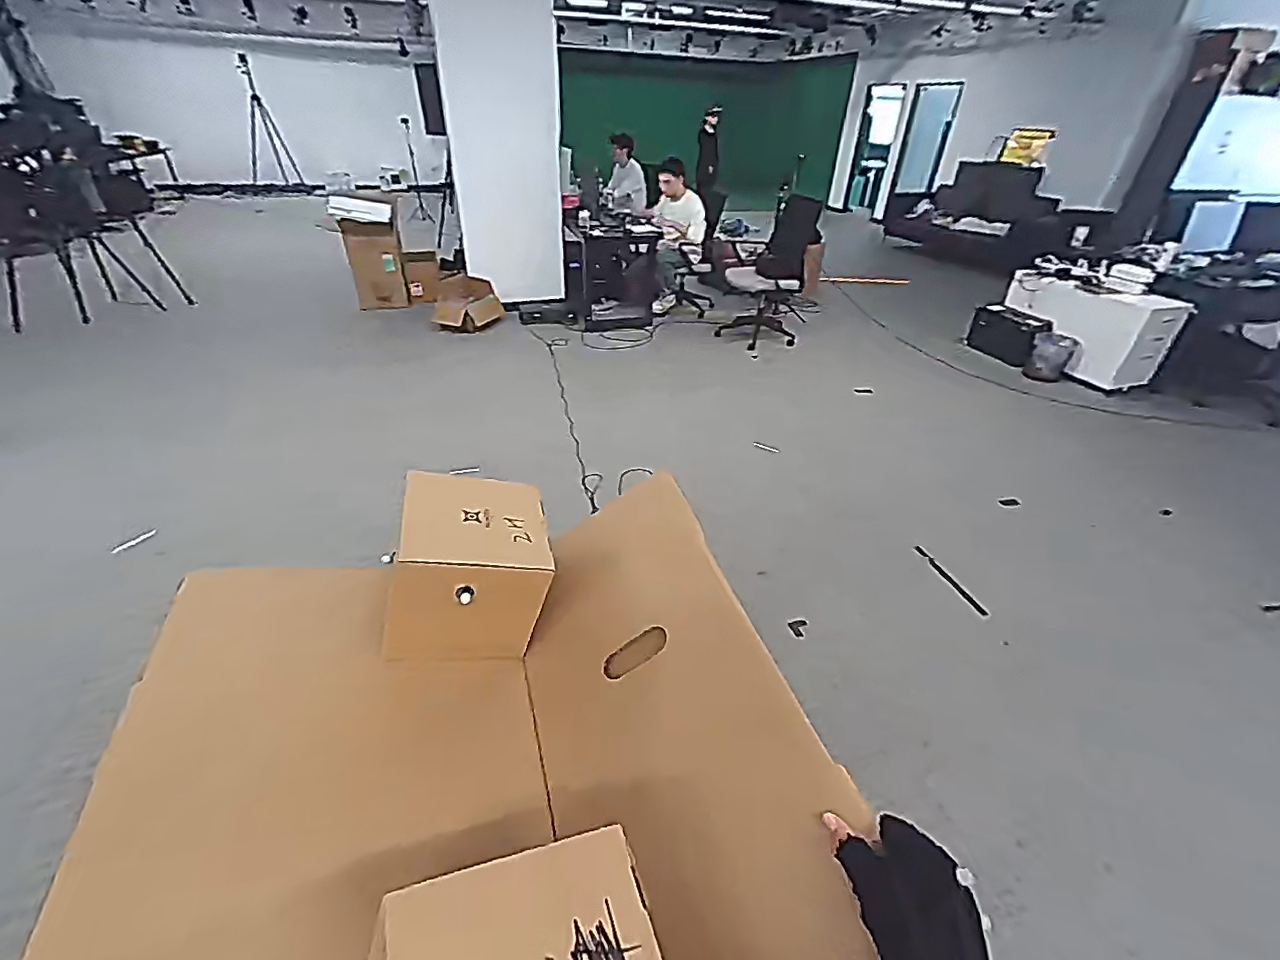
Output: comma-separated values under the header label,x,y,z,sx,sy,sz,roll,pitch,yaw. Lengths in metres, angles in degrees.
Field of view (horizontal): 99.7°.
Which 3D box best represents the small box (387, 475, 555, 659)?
label,x,y,z,sx,sy,sz,roll,pitch,yaw
small box,-0.225,0.118,0.712,0.179,0.176,0.168,9,34,-24
